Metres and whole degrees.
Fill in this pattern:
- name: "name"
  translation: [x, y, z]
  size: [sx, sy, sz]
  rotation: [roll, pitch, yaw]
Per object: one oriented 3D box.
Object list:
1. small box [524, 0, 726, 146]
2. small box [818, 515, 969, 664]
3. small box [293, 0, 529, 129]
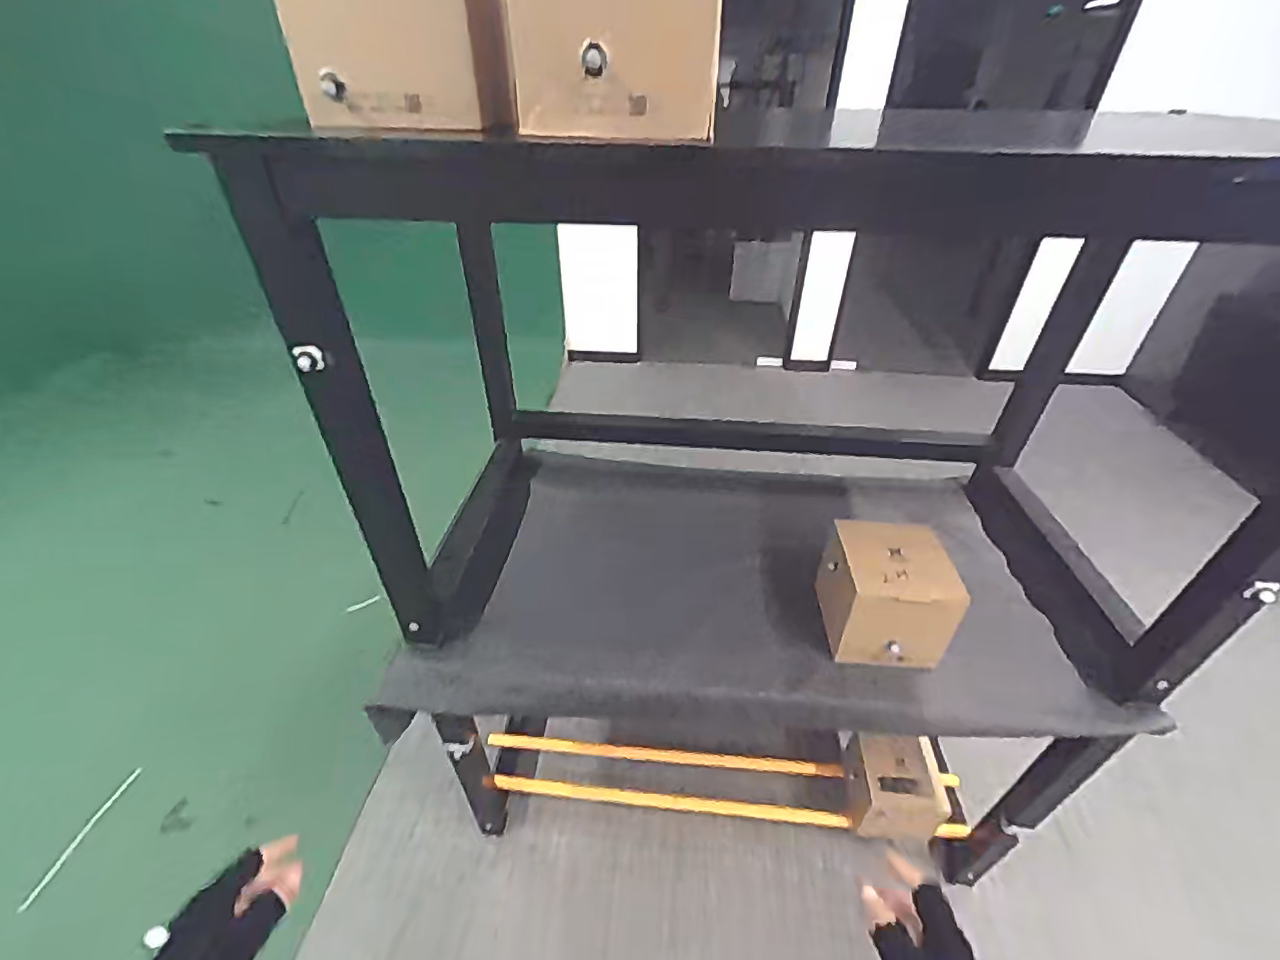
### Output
- name: "small box"
  translation: [-0.007, -0.413, 0.492]
  size: [0.168, 0.176, 0.179]
  rotation: [4, 37, 4]
- name: "small box"
  translation: [0.411, 0.182, 0.915]
  size: [0.168, 0.176, 0.179]
  rotation: [2, 35, 4]
- name: "small box"
  translation: [-0.213, -0.448, 0.531]
  size: [0.168, 0.176, 0.179]
  rotation: [3, 35, 3]
